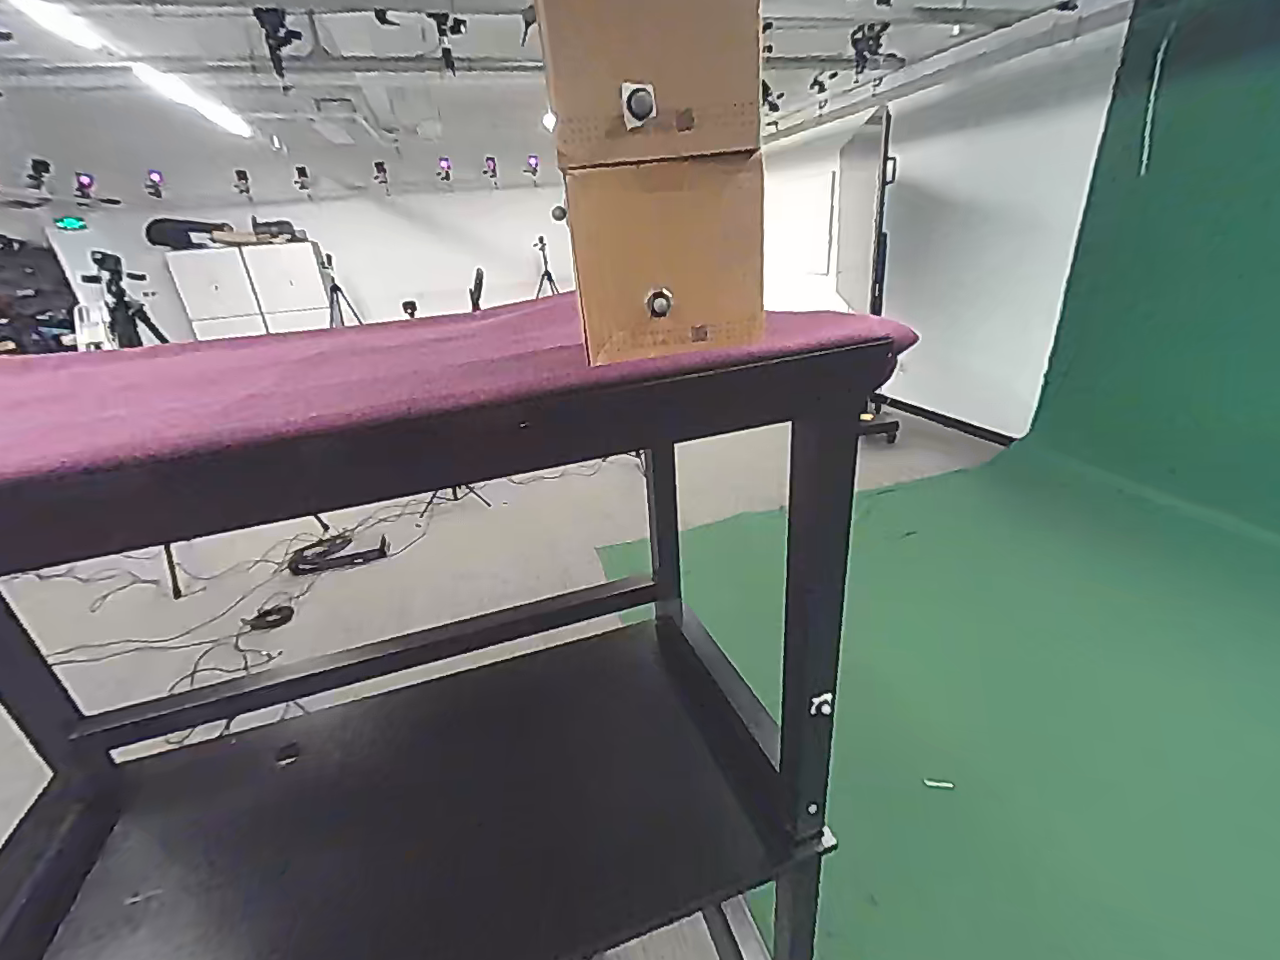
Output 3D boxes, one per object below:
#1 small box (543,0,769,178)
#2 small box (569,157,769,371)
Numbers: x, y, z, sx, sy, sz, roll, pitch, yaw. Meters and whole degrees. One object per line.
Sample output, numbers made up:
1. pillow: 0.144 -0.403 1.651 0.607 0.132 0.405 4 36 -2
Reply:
1. small box: 0.009 -0.356 0.467 0.168 0.176 0.179 -7 27 -1
2. small box: 0.020 -0.213 0.542 0.168 0.176 0.179 -8 26 -5
